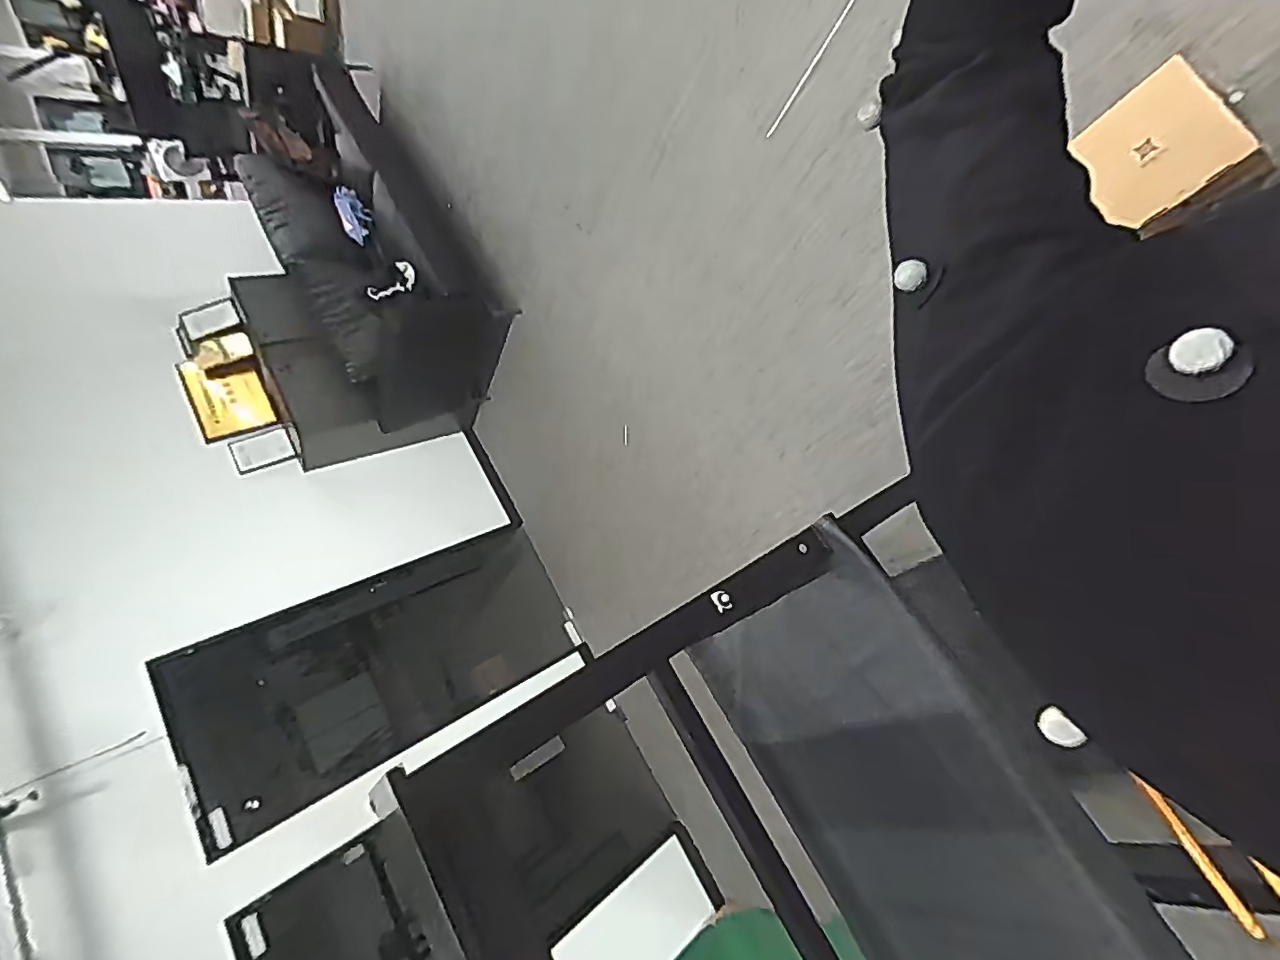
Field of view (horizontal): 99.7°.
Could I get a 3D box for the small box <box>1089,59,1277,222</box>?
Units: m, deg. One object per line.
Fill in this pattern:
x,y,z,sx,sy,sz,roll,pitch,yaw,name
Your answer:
0.941,-0.577,0.941,0.179,0.176,0.168,62,145,9,small box
